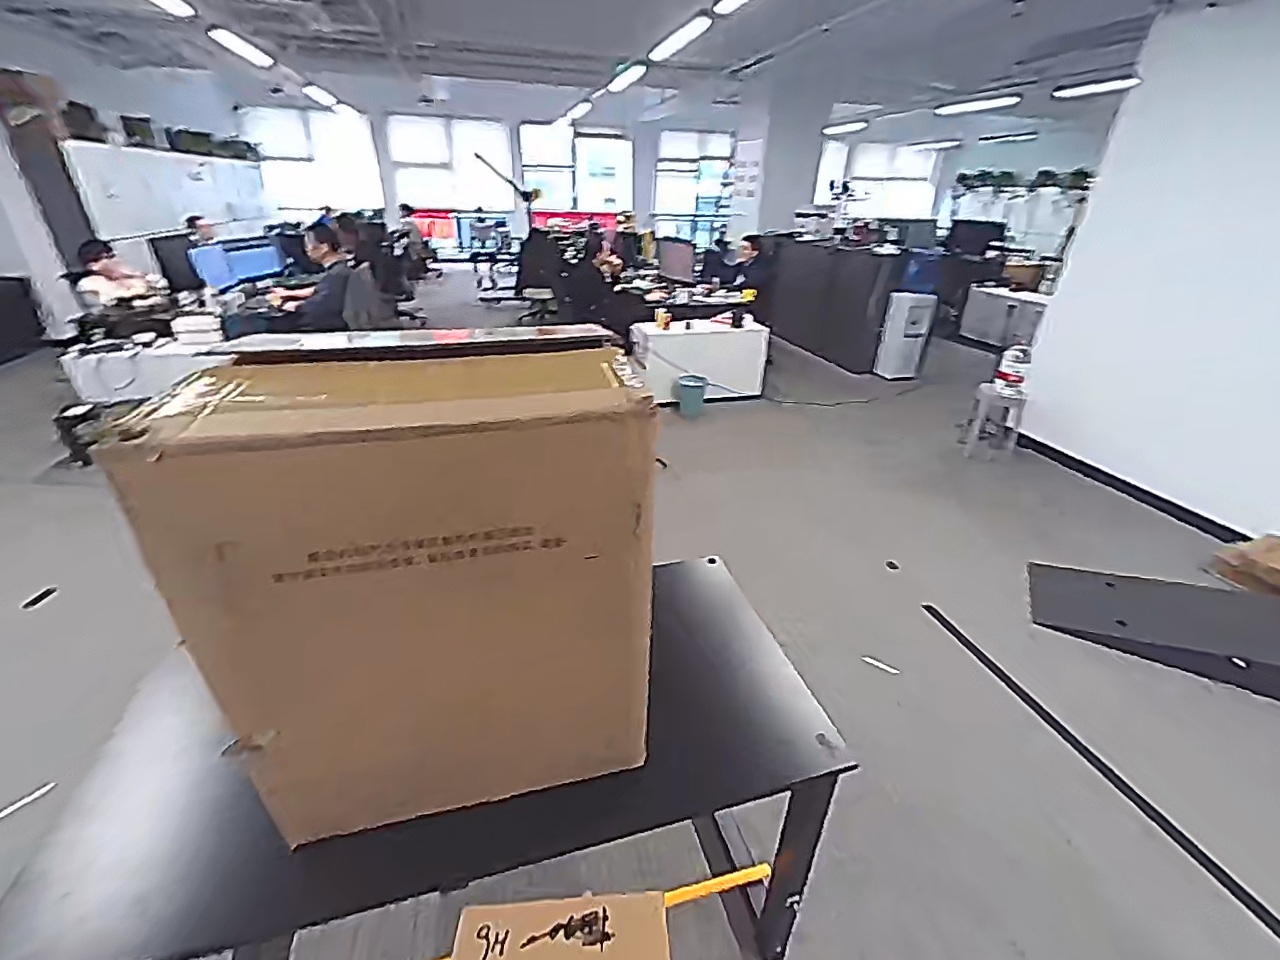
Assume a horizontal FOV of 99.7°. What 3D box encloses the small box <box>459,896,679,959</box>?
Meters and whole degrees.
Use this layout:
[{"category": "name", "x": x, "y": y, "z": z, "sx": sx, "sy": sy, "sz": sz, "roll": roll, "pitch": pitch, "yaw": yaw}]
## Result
[{"category": "small box", "x": -0.049, "y": 0.449, "z": 0.396, "sx": 0.168, "sy": 0.176, "sz": 0.179, "roll": -1, "pitch": 29, "yaw": -4}]
